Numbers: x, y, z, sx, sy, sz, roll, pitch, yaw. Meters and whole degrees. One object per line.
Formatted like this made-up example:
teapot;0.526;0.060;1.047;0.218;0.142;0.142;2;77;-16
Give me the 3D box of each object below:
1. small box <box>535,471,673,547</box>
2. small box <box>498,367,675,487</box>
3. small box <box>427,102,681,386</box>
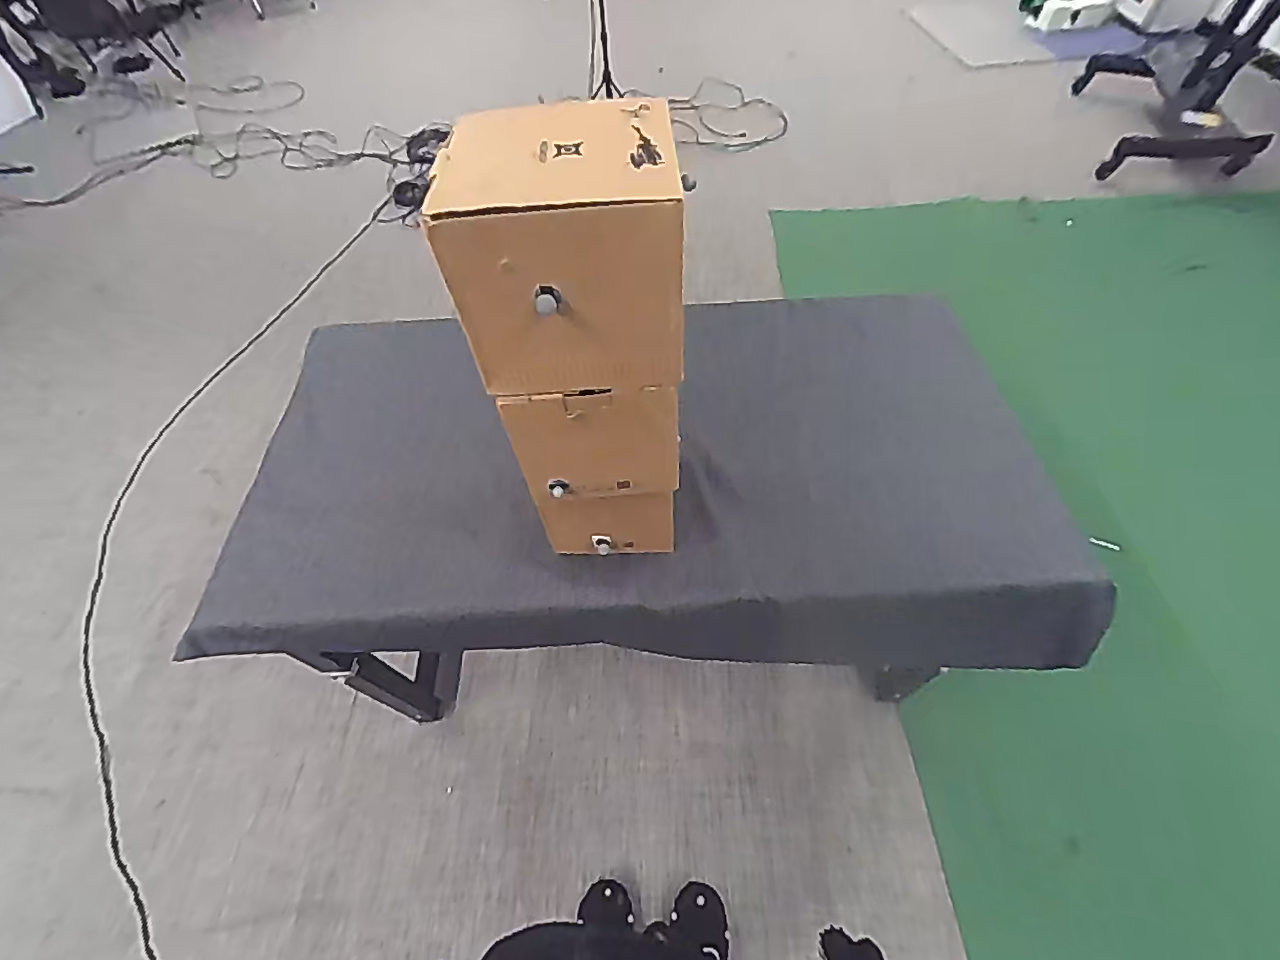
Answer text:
small box;-0.040;-0.023;0.748;0.168;0.176;0.179;-3;57;3
small box;-0.054;-0.105;0.606;0.168;0.176;0.179;-8;56;-1
small box;-0.060;-0.199;0.476;0.179;0.176;0.168;-6;53;-1
